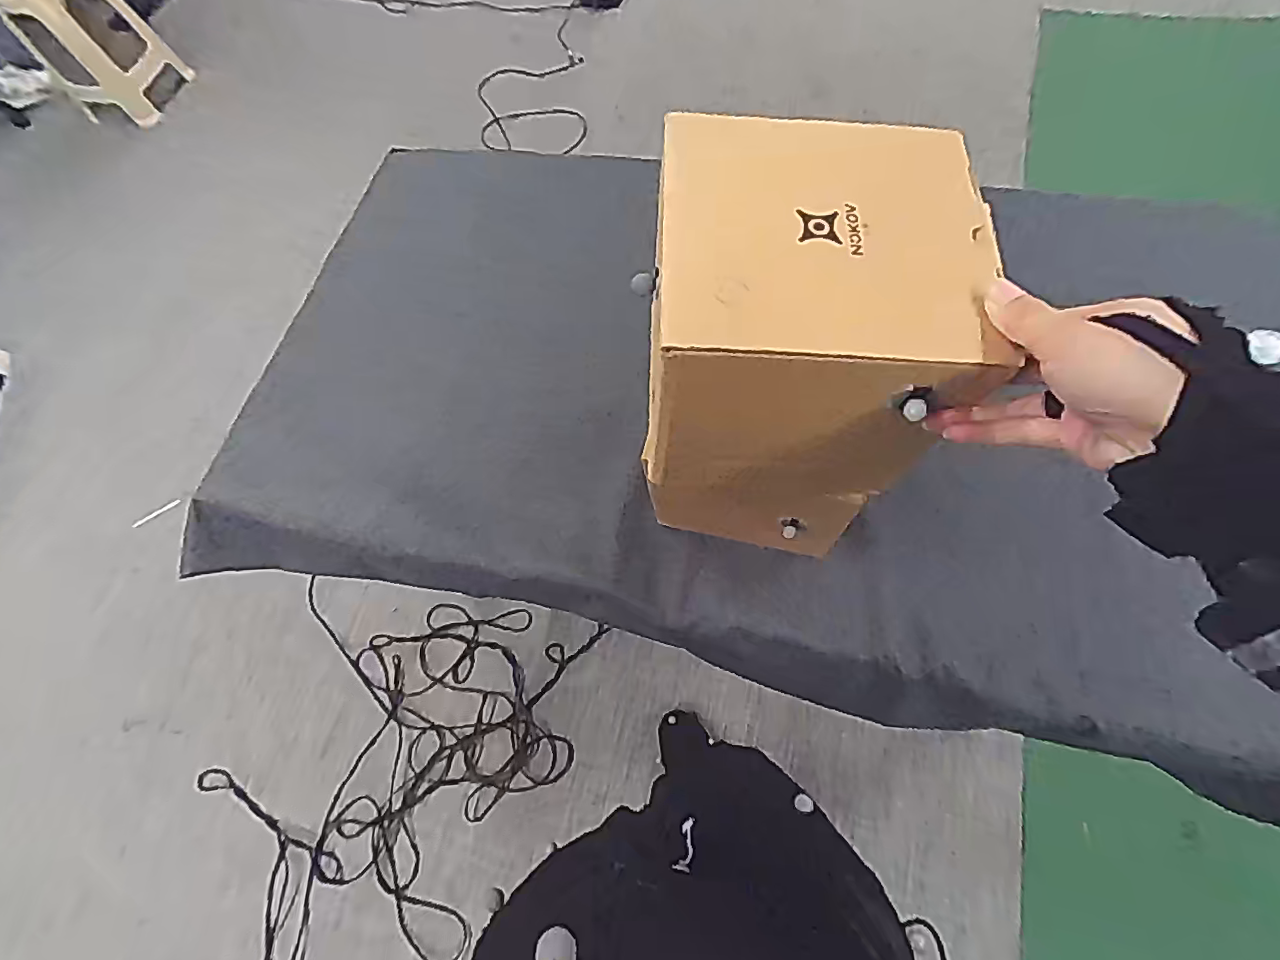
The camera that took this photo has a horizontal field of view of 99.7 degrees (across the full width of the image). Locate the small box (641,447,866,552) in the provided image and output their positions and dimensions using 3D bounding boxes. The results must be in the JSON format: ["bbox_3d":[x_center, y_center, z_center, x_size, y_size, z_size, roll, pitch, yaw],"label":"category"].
[{"bbox_3d":[0.112,-0.039,0.522,0.179,0.176,0.168,10,68,12],"label":"small box"}]

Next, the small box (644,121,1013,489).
[{"bbox_3d":[0.094,-0.101,0.362,0.179,0.176,0.168,3,67,-2],"label":"small box"}]
